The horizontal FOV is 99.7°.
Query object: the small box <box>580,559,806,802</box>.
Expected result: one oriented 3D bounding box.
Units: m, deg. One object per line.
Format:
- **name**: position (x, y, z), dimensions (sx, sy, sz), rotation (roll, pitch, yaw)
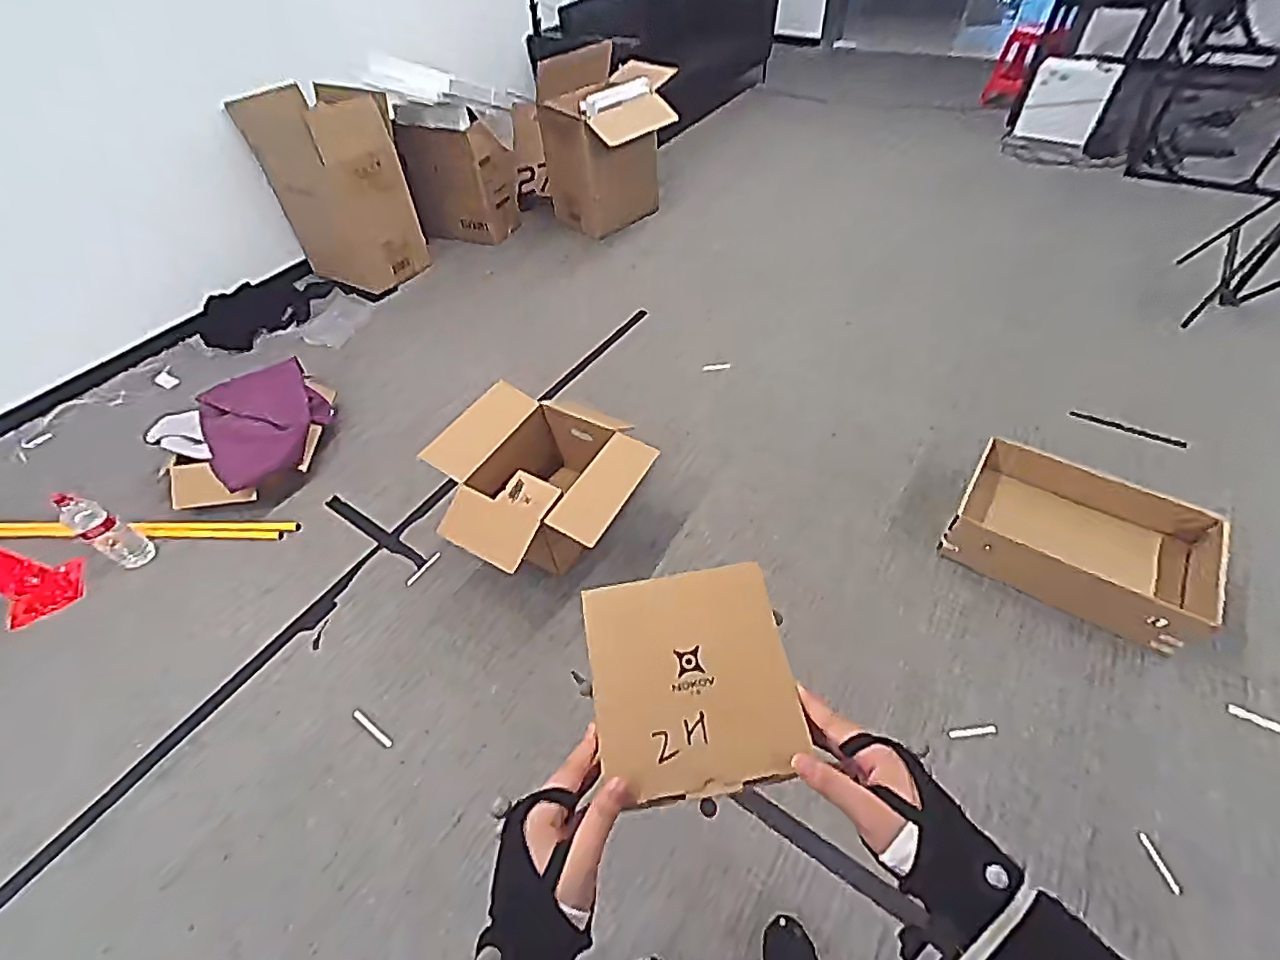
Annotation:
- **small box**: position (0.038, 0.198, 0.521), dimensions (0.168, 0.176, 0.179), rotation (-9, 59, -2)
